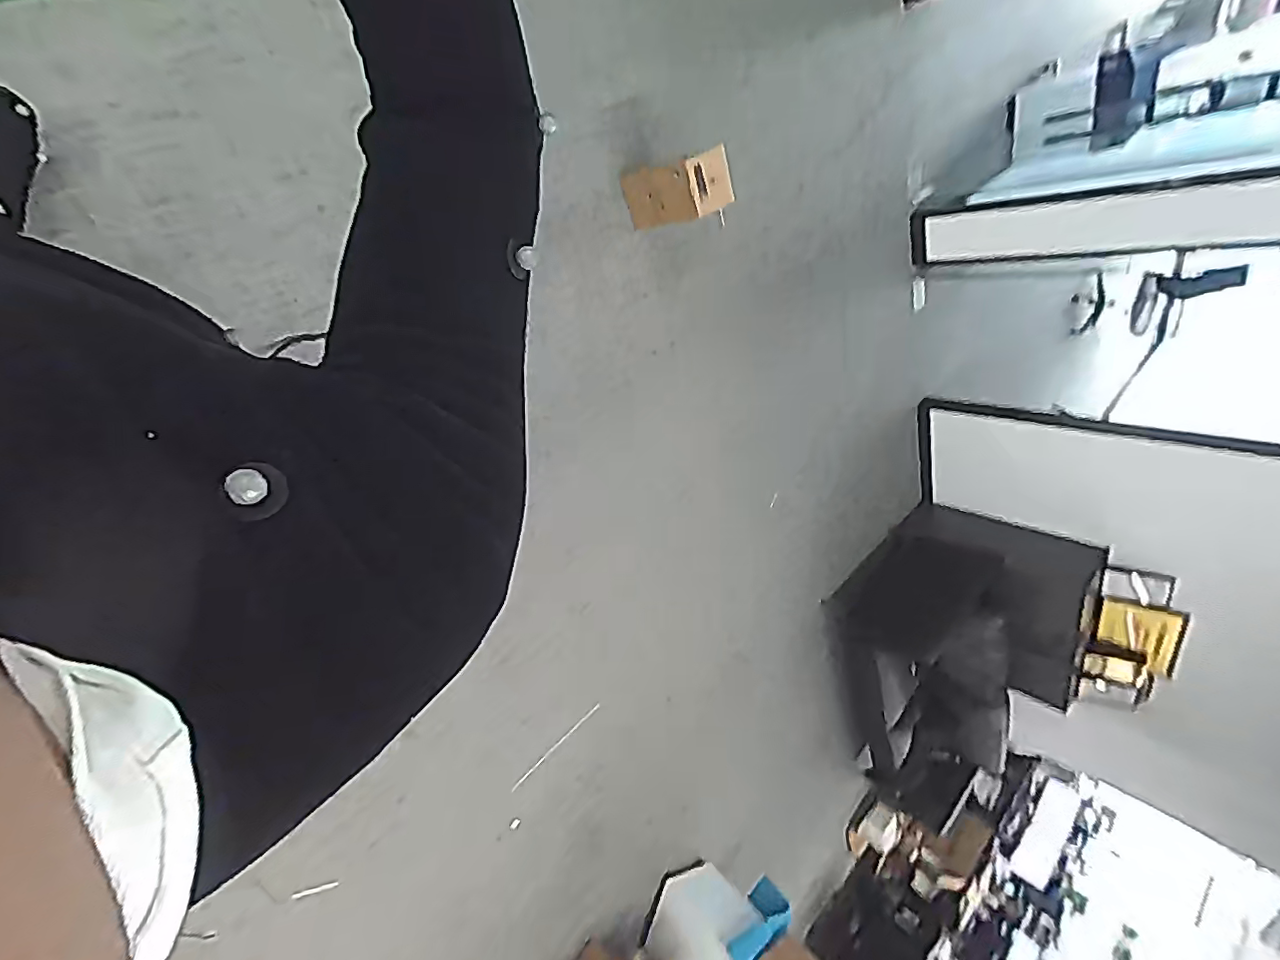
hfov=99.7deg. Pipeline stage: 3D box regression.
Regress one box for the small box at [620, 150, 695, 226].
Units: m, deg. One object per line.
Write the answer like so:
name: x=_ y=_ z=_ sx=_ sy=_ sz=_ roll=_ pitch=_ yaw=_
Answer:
small box: x=0.056 y=-0.985 z=1.835 sx=0.168 sy=0.176 sz=0.179 roll=-38 pitch=125 yaw=-25
